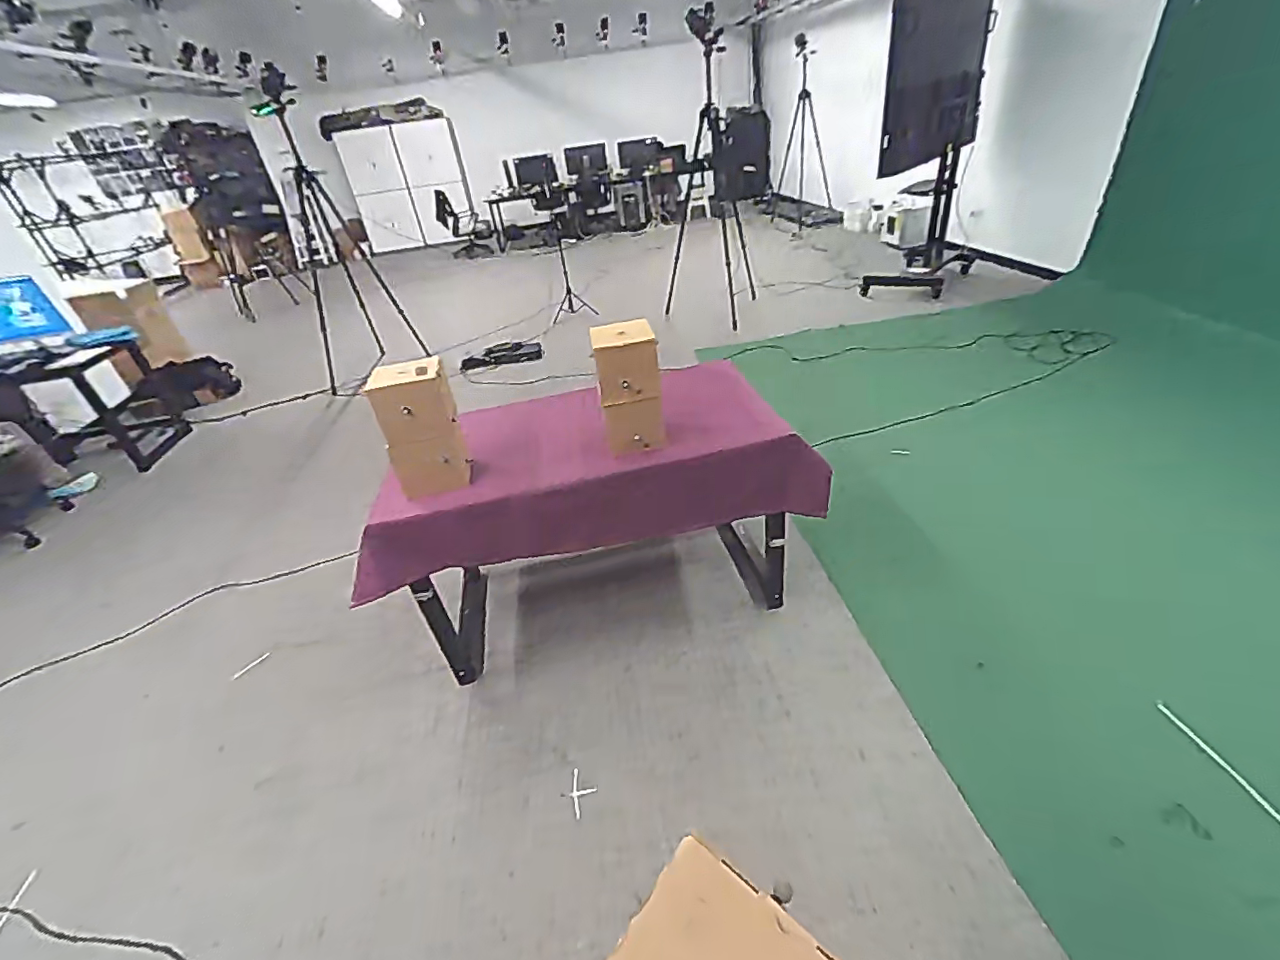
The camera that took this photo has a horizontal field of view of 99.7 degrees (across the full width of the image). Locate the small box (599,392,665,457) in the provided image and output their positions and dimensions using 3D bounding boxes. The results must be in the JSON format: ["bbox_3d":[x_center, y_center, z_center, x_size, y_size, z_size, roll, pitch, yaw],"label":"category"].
[{"bbox_3d":[-0.026,-0.190,1.591,0.168,0.176,0.179,-11,34,-3],"label":"small box"}]

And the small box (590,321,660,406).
[{"bbox_3d":[-0.044,-0.324,1.501,0.168,0.176,0.179,-11,35,-3],"label":"small box"}]

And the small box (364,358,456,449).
[{"bbox_3d":[-0.605,-0.205,1.448,0.179,0.176,0.168,-13,34,-7],"label":"small box"}]
